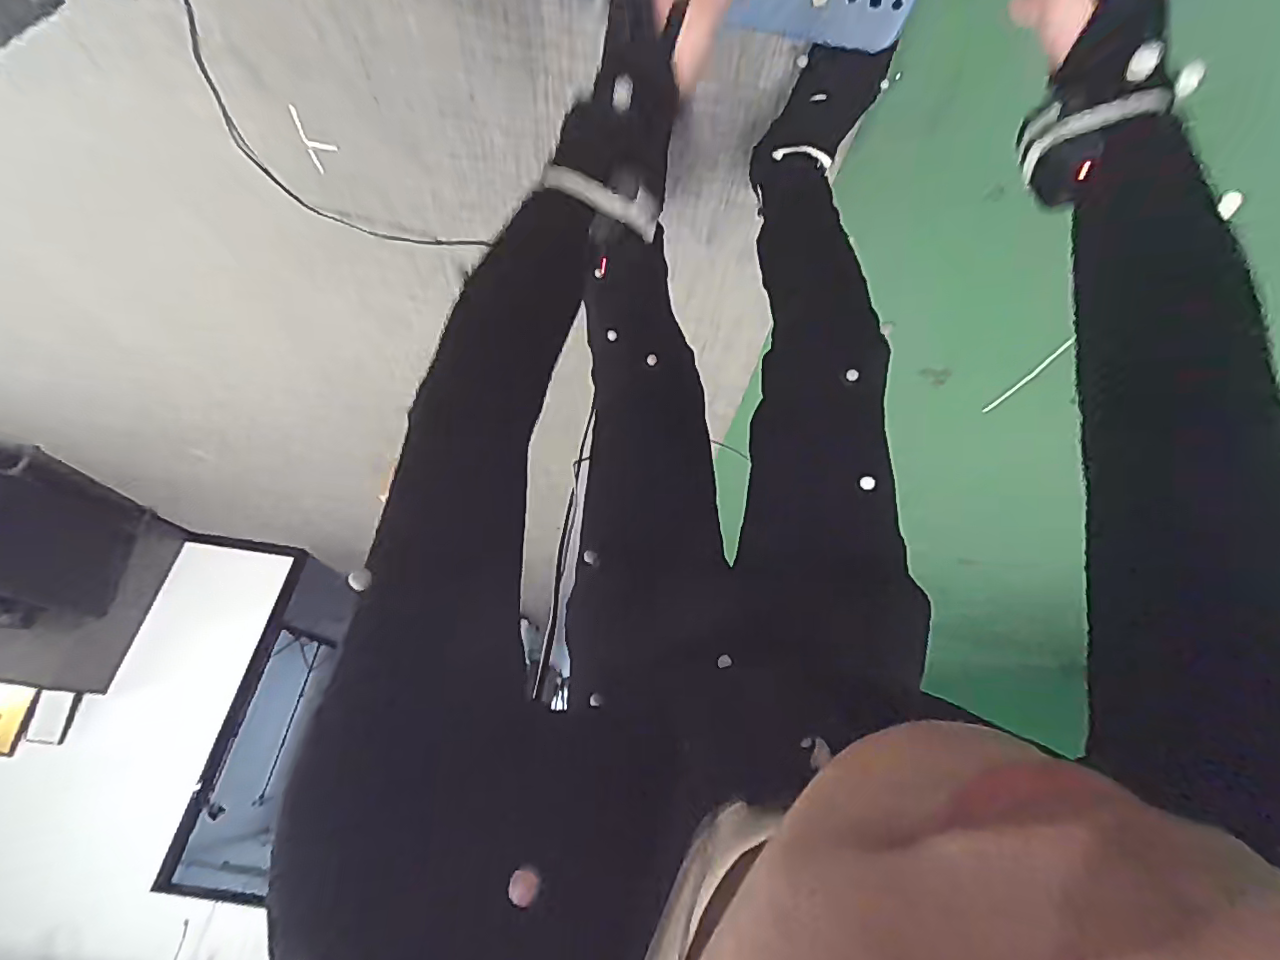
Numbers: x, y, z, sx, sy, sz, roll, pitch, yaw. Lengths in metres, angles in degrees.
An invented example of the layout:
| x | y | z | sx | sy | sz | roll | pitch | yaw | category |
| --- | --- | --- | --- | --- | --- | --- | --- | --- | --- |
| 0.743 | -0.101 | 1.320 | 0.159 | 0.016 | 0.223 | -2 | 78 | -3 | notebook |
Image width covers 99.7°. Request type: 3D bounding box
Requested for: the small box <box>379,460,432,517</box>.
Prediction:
| x | y | z | sx | sy | sz | roll | pitch | yaw | category |
| --- | --- | --- | --- | --- | --- | --- | --- | --- | --- |
| -0.998 | 0.038 | 2.320 | 0.168 | 0.176 | 0.179 | 13 | 152 | -12 | small box |
